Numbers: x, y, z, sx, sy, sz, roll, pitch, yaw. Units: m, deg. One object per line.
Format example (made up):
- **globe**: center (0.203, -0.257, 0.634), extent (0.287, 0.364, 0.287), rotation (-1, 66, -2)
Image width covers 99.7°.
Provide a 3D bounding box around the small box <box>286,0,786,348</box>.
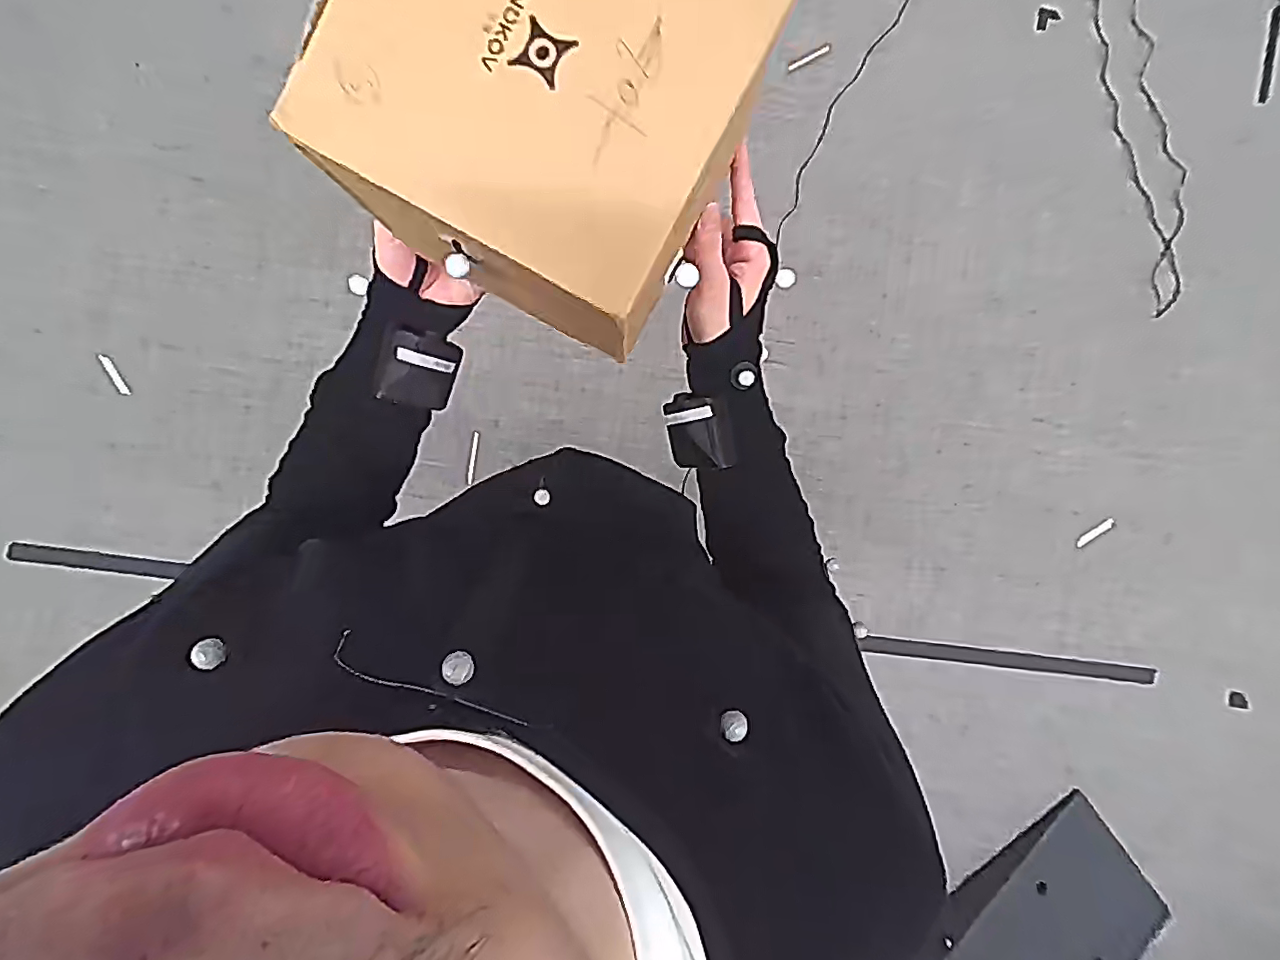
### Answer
- **small box**: center (-0.048, -0.195, 0.320), extent (0.179, 0.176, 0.168), rotation (27, 93, -4)
